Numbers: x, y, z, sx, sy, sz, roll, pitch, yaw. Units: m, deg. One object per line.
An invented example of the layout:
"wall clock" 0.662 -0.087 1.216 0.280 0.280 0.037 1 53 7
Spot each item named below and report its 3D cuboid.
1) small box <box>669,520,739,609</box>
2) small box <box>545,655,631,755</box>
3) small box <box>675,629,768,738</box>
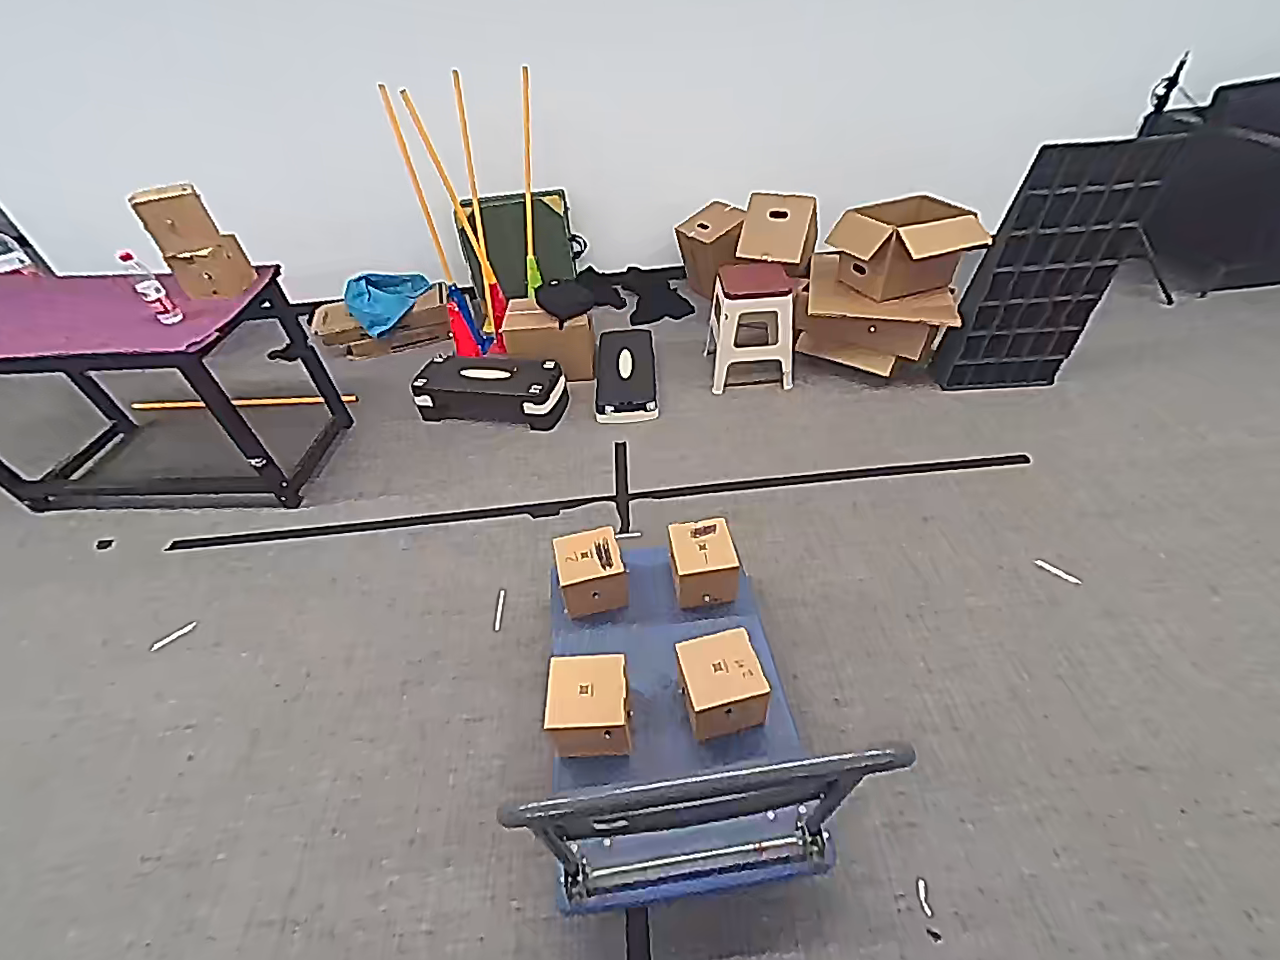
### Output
"small box" 0.175 0.240 1.535 0.168 0.176 0.179 -8 45 -3
"small box" -0.115 0.530 1.265 0.179 0.176 0.168 -3 44 0
"small box" 0.189 0.485 1.281 0.179 0.176 0.168 -12 45 -6
